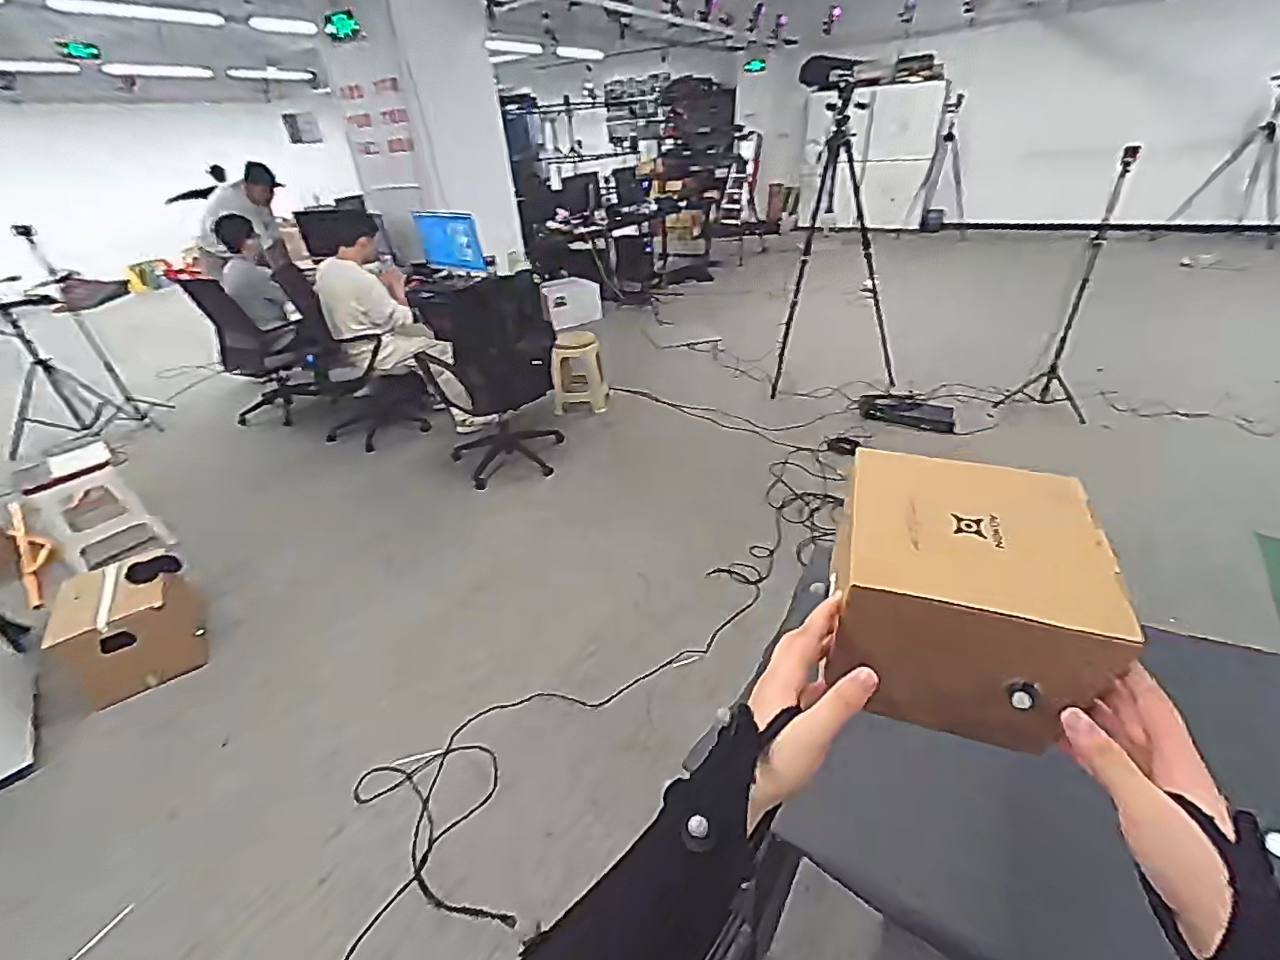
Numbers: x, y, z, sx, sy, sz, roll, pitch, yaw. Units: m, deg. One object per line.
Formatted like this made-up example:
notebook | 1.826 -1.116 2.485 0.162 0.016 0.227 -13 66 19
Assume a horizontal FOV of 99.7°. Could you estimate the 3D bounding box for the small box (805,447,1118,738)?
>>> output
small box | 0.249 0.095 0.468 0.179 0.176 0.168 8 42 17
